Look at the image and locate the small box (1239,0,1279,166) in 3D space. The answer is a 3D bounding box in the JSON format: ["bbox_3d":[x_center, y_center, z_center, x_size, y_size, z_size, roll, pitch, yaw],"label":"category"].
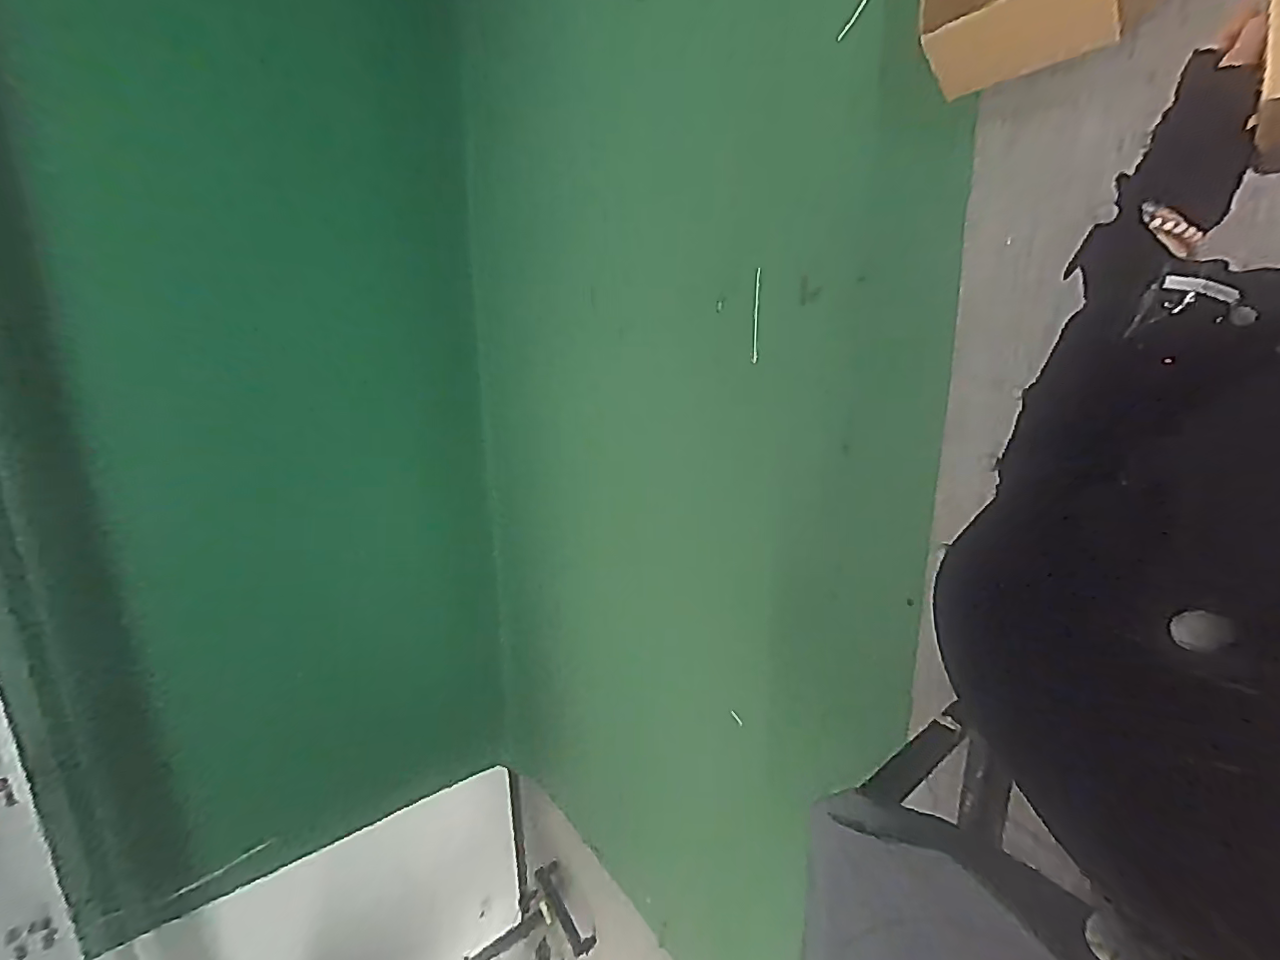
[{"bbox_3d":[0.478,-0.310,0.303,0.179,0.176,0.168,6,100,46],"label":"small box"}]
